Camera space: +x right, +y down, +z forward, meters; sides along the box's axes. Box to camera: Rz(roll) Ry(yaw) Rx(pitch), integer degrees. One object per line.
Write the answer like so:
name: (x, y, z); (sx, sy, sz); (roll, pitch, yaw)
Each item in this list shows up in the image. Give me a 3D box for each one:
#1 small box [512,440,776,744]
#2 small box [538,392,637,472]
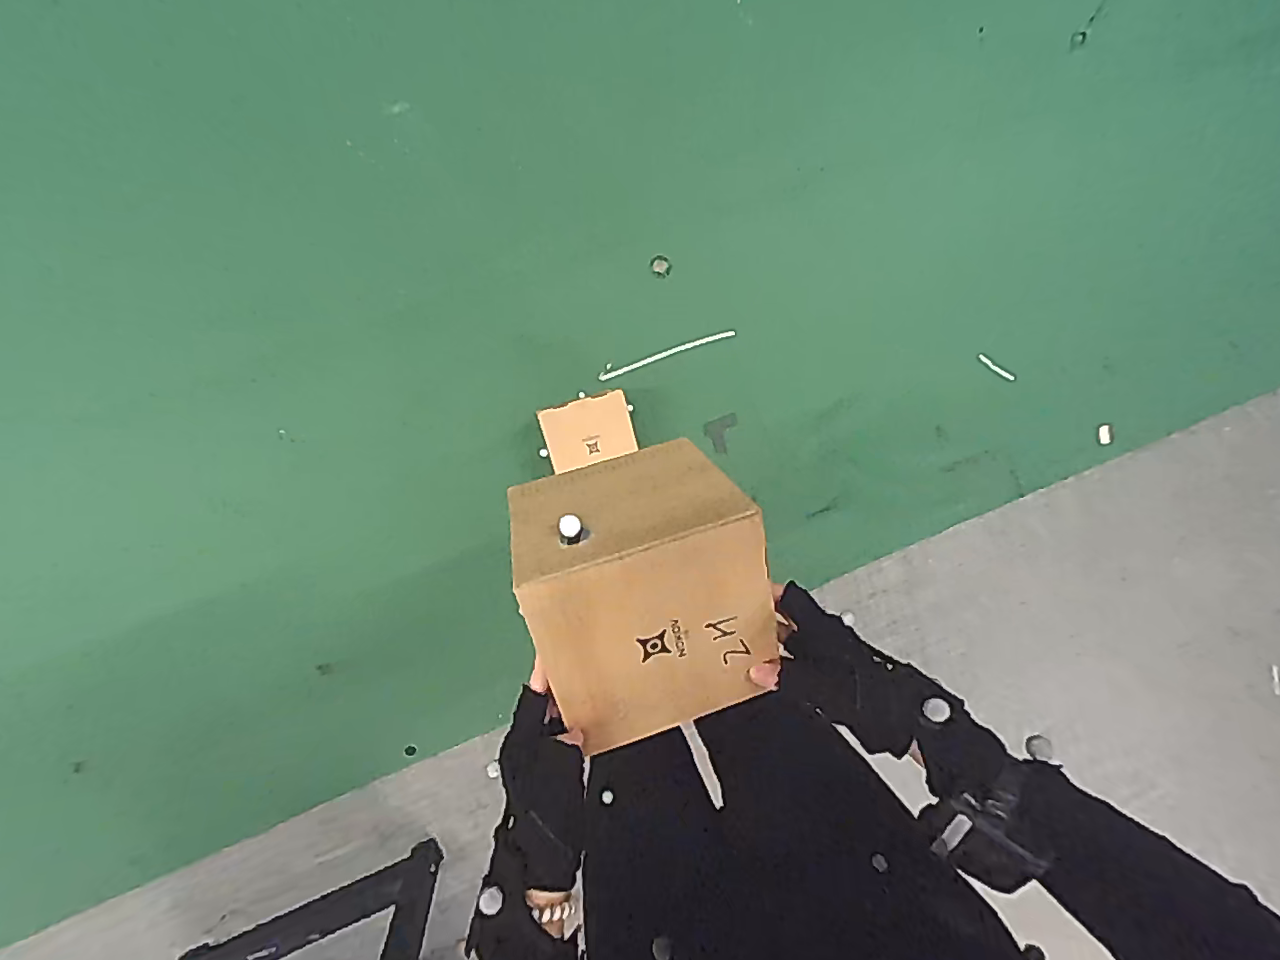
small box: (-0.004, 0.081, 0.470); (0.179, 0.176, 0.168); (-16, 116, -8)
small box: (-0.100, -0.075, 1.095); (0.168, 0.176, 0.179); (-16, 100, -7)
